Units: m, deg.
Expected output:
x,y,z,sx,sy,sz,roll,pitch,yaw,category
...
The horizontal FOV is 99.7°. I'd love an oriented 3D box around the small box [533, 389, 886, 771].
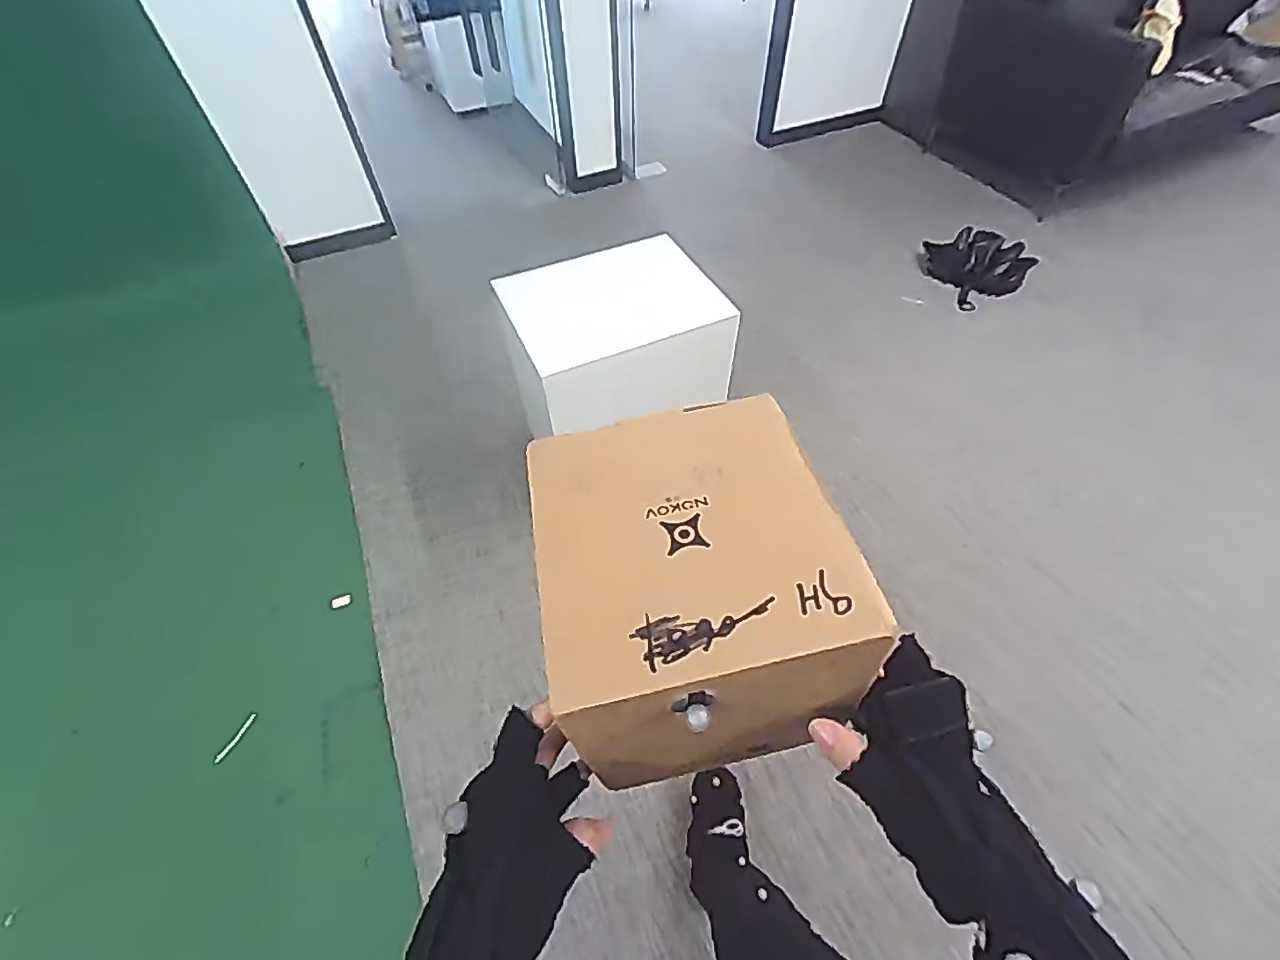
x,y,z,sx,sy,sz,roll,pitch,yaw,category
0.032,0.070,0.368,0.168,0.176,0.179,-14,50,-2,small box
